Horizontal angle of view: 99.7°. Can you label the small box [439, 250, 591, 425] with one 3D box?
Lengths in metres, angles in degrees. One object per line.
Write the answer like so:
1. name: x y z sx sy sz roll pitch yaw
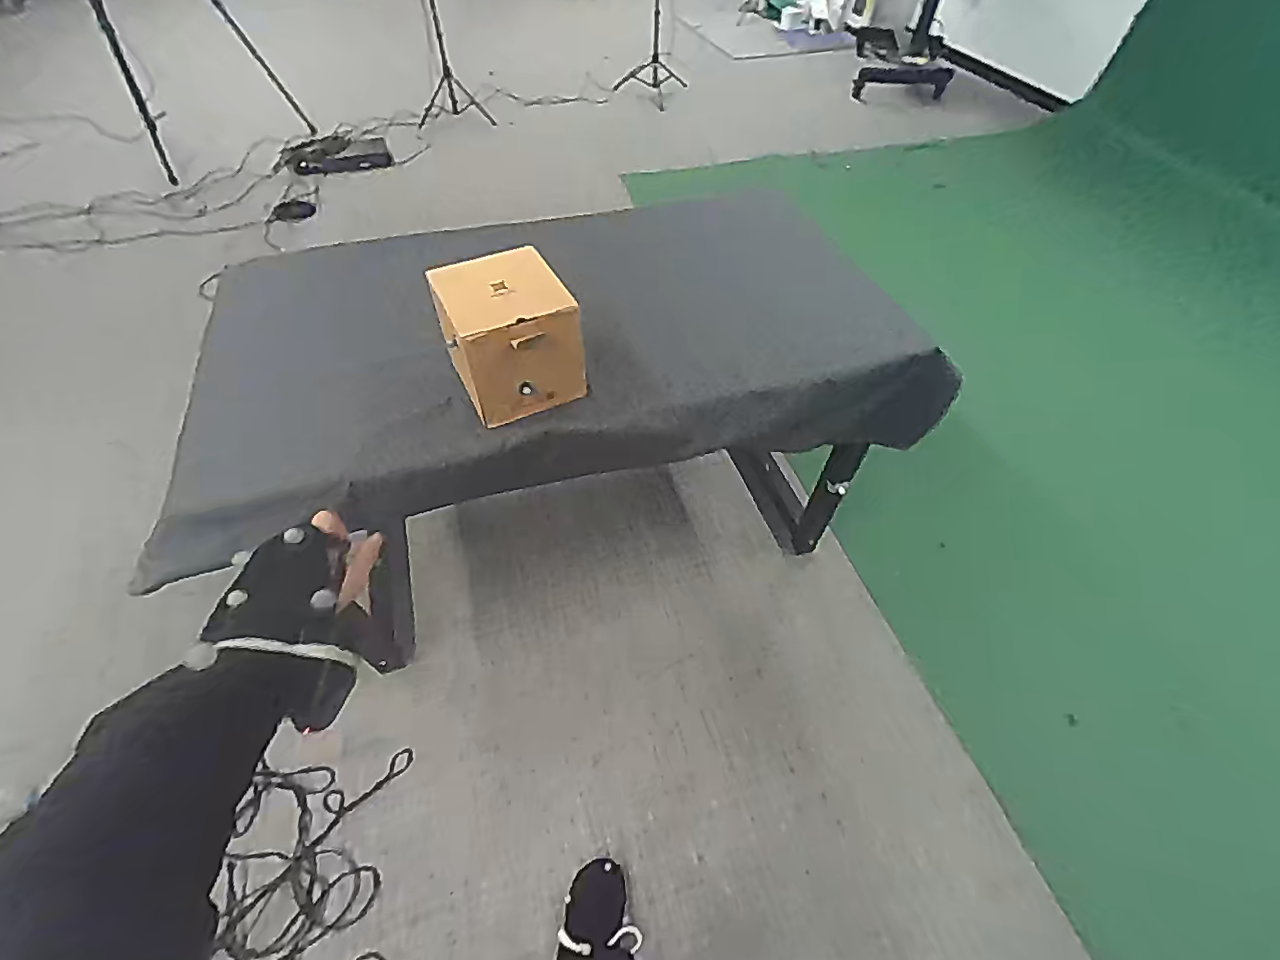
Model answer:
1. small box: -0.184 -0.215 0.820 0.168 0.176 0.179 -22 56 -19
